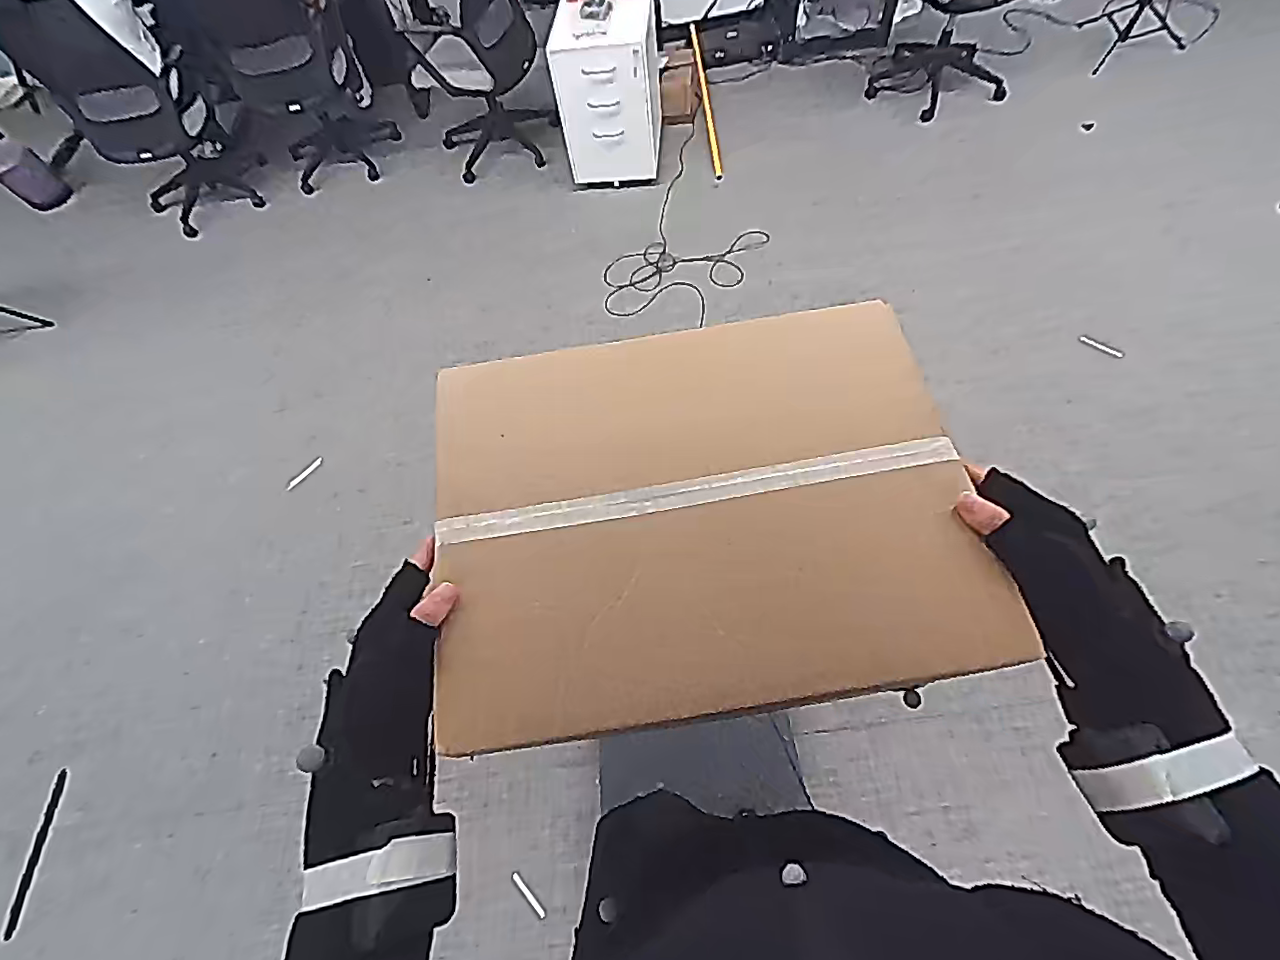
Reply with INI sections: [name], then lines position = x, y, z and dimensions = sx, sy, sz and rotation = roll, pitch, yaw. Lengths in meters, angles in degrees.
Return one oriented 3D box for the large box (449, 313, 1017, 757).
[large box]
position = 0.057, 0.077, 0.568
dimensions = 0.408, 0.320, 0.320
rotation = -10, 65, 0
